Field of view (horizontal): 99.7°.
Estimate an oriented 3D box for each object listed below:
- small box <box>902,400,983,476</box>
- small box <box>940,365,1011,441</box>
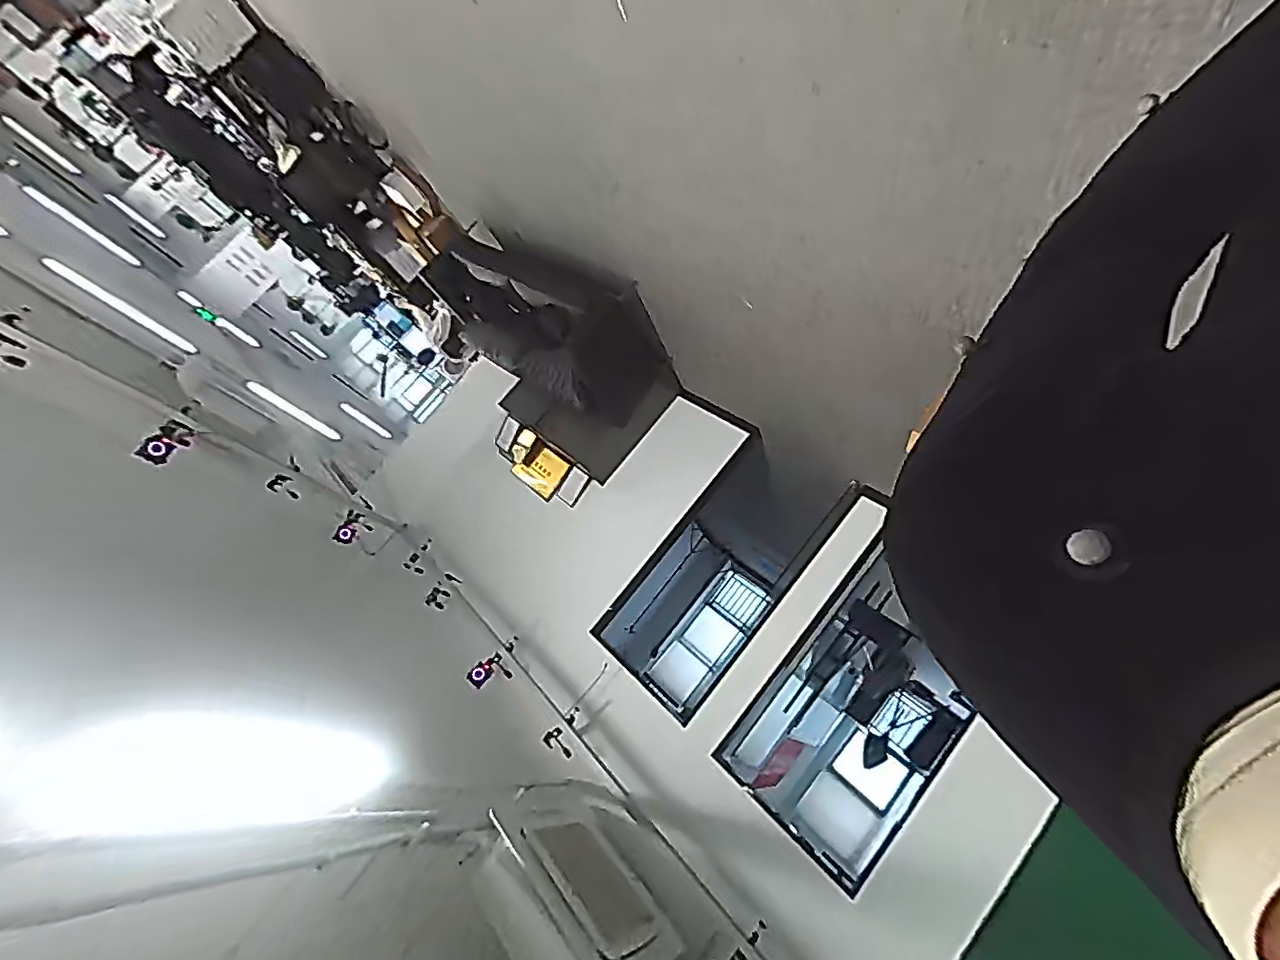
[{"bbox_3d":[1.053,-0.149,1.882,0.179,0.176,0.168,36,171,27],"label":"small box"},{"bbox_3d":[1.162,-0.269,1.901,0.168,0.176,0.179,35,171,26],"label":"small box"}]
